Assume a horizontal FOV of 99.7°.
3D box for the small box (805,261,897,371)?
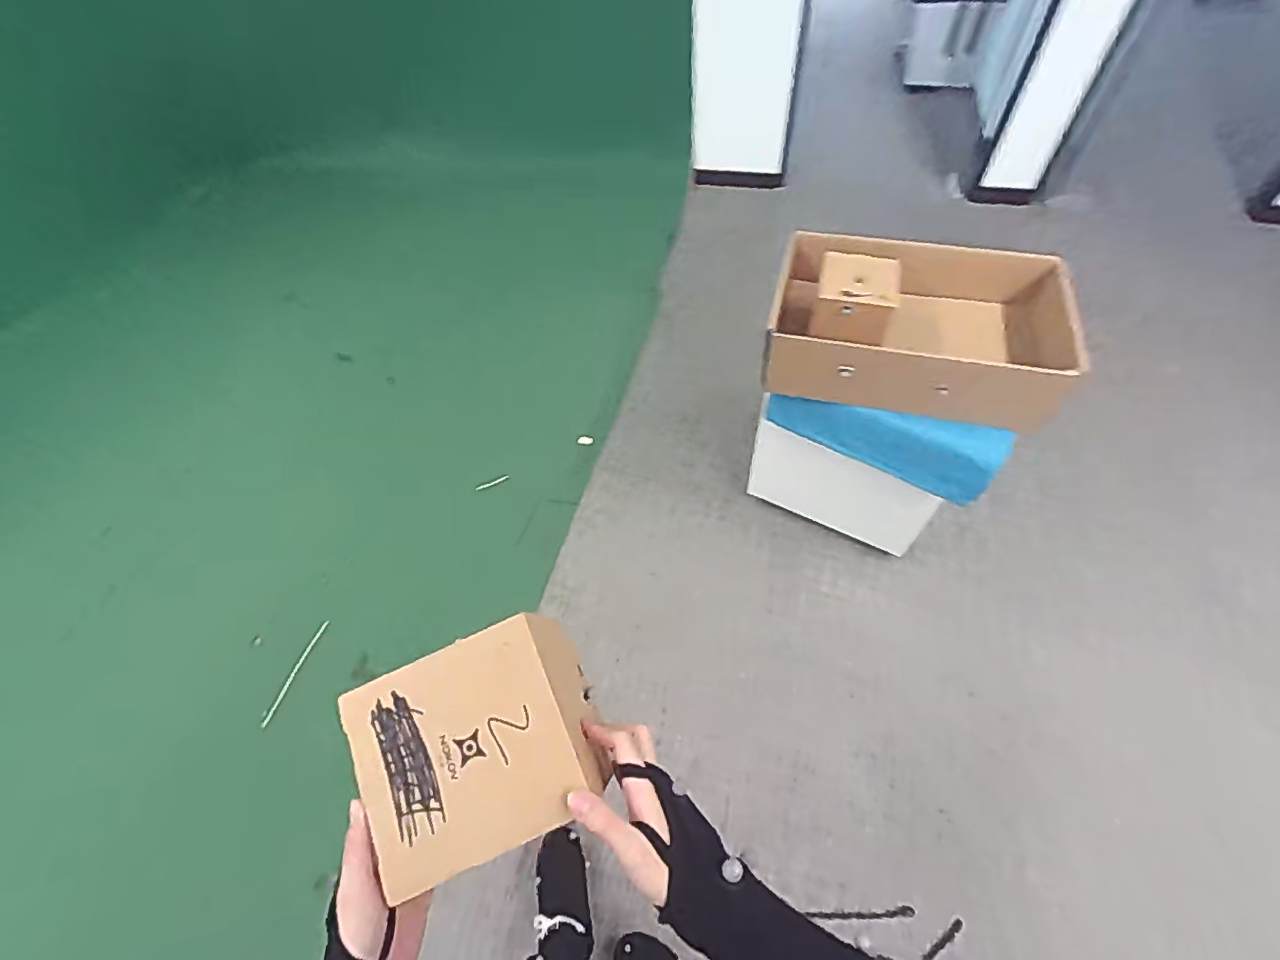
[{"bbox_3d":[0.492,-0.386,1.273,0.168,0.176,0.179,11,55,12],"label":"small box"}]
